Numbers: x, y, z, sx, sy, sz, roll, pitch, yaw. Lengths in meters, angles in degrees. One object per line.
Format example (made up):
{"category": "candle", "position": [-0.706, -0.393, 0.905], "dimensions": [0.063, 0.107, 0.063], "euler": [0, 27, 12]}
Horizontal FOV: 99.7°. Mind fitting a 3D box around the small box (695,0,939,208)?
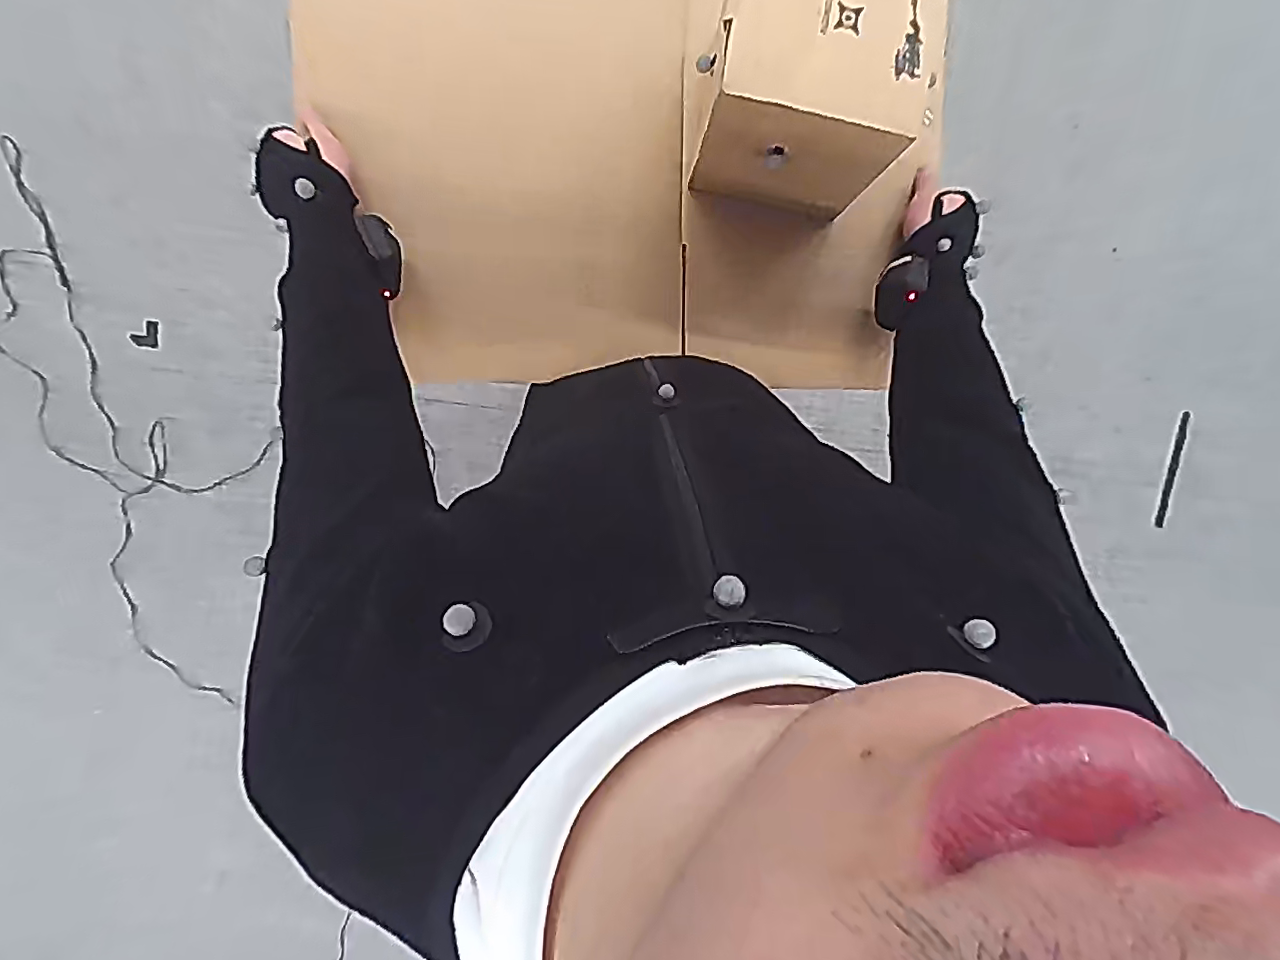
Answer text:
{"category": "small box", "position": [0.159, -0.395, 0.531], "dimensions": [0.179, 0.176, 0.168], "euler": [10, 94, -3]}
